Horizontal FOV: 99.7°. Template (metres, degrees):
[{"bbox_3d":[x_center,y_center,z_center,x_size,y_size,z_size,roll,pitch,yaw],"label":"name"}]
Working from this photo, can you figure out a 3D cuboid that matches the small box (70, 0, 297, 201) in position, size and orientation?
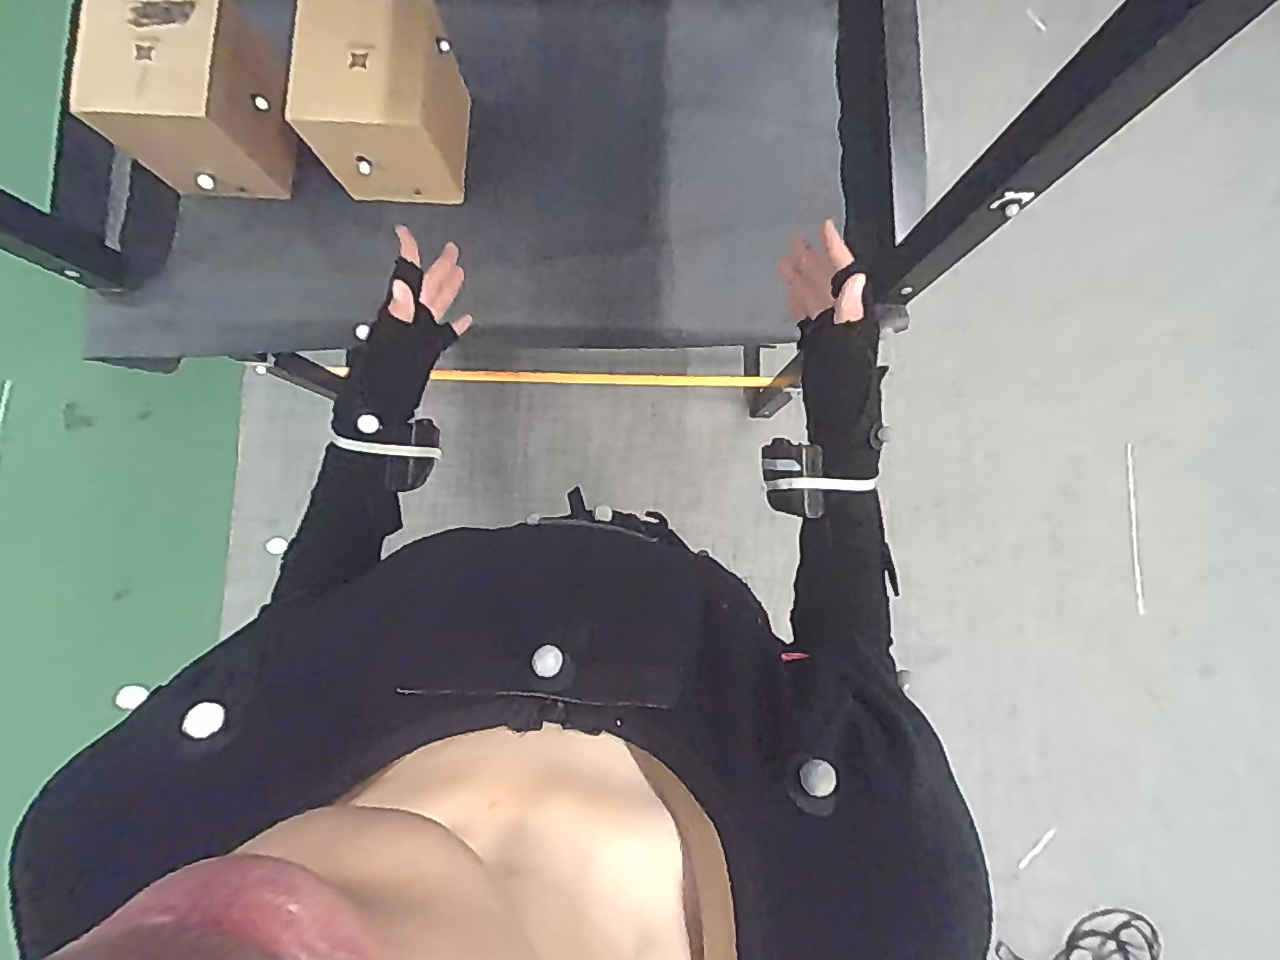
[{"bbox_3d":[-0.599,-0.516,0.736,0.168,0.176,0.179,2,86,-1],"label":"small box"}]

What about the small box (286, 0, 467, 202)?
[{"bbox_3d":[-0.347,-0.510,0.743,0.168,0.176,0.179,2,84,-1],"label":"small box"}]
